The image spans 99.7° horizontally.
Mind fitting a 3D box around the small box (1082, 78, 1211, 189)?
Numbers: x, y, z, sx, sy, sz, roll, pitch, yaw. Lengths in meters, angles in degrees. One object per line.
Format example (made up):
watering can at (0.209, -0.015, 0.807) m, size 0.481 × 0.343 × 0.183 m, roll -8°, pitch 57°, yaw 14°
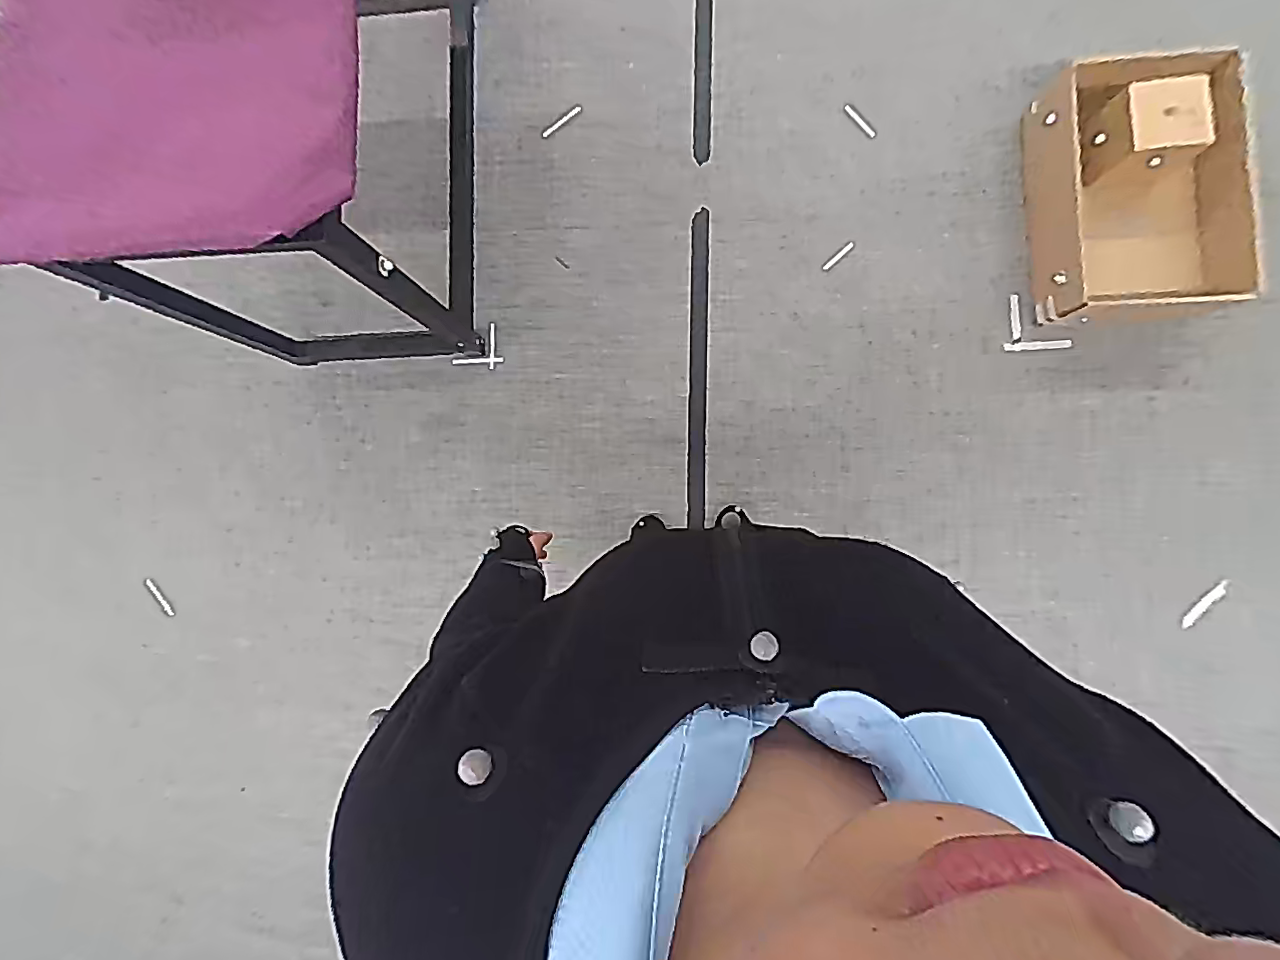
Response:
small box at (1.246, -0.854, 1.348) m, size 0.179 × 0.176 × 0.168 m, roll -3°, pitch 88°, yaw 4°
